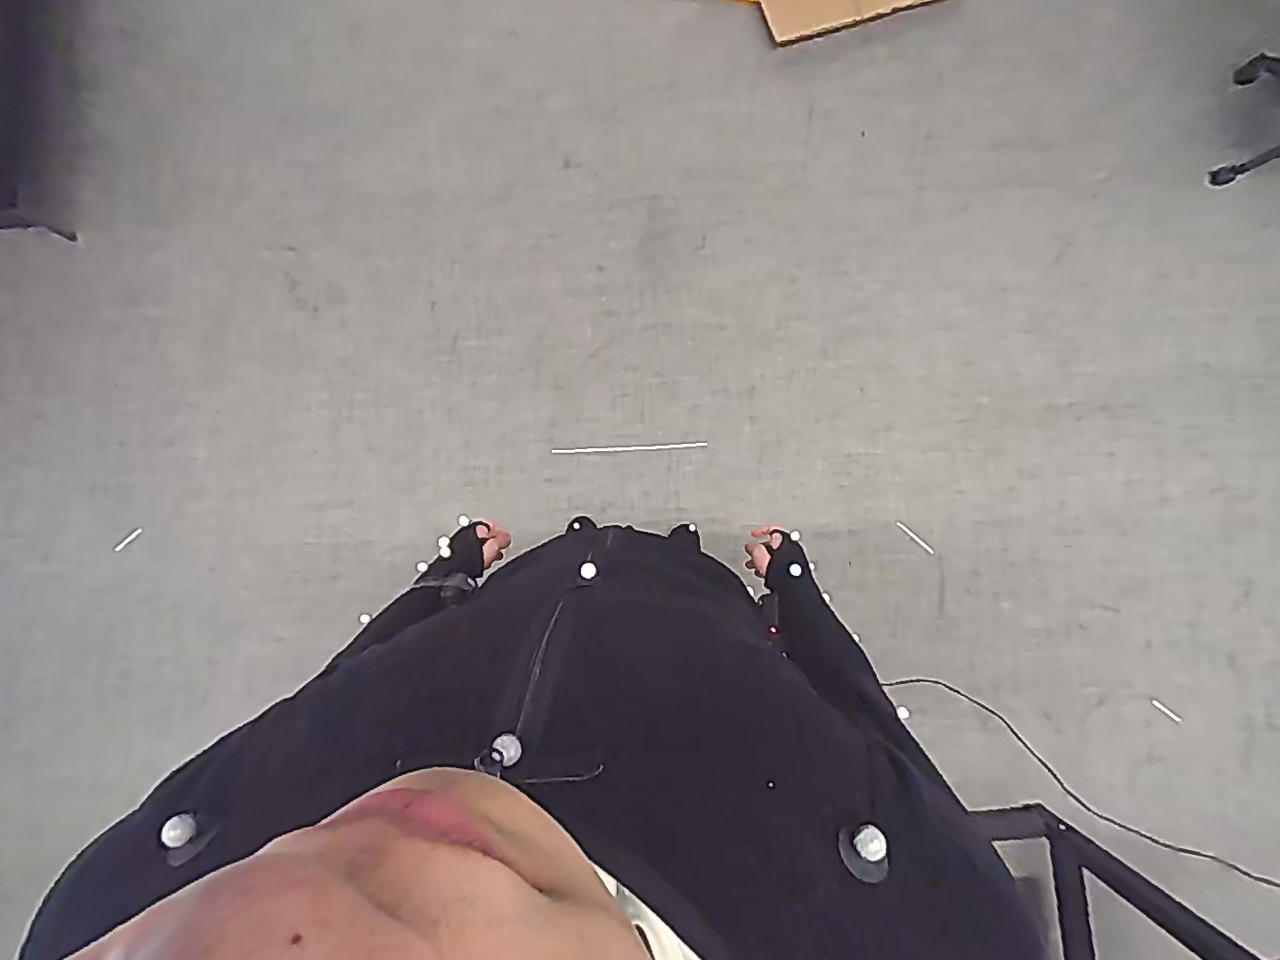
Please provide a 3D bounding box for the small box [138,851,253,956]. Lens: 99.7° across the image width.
[{"bbox_3d":[-1.195,1.139,1.467,0.179,0.176,0.168,1,85,0],"label":"small box"}]
